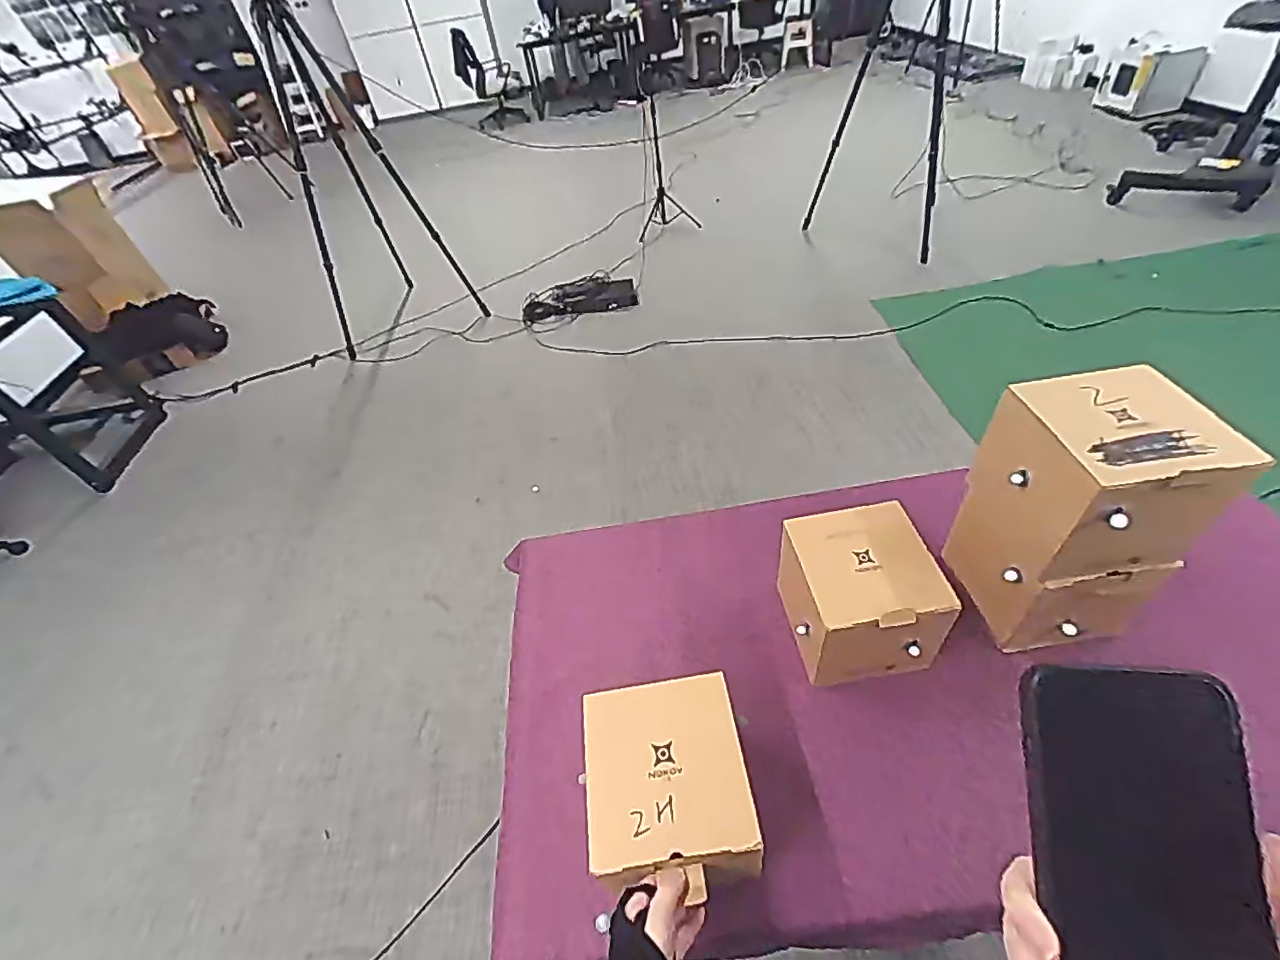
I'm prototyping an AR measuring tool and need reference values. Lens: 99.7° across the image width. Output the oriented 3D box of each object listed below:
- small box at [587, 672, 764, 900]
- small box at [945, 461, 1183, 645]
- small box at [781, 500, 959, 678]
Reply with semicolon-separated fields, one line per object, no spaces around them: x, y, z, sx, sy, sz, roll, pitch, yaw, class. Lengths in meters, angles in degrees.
0.038;0.349;0.618;0.168;0.176;0.179;-11;45;2;small box
0.562;0.102;0.753;0.168;0.176;0.179;-11;46;1;small box
0.302;0.158;0.754;0.168;0.176;0.179;-10;45;1;small box
